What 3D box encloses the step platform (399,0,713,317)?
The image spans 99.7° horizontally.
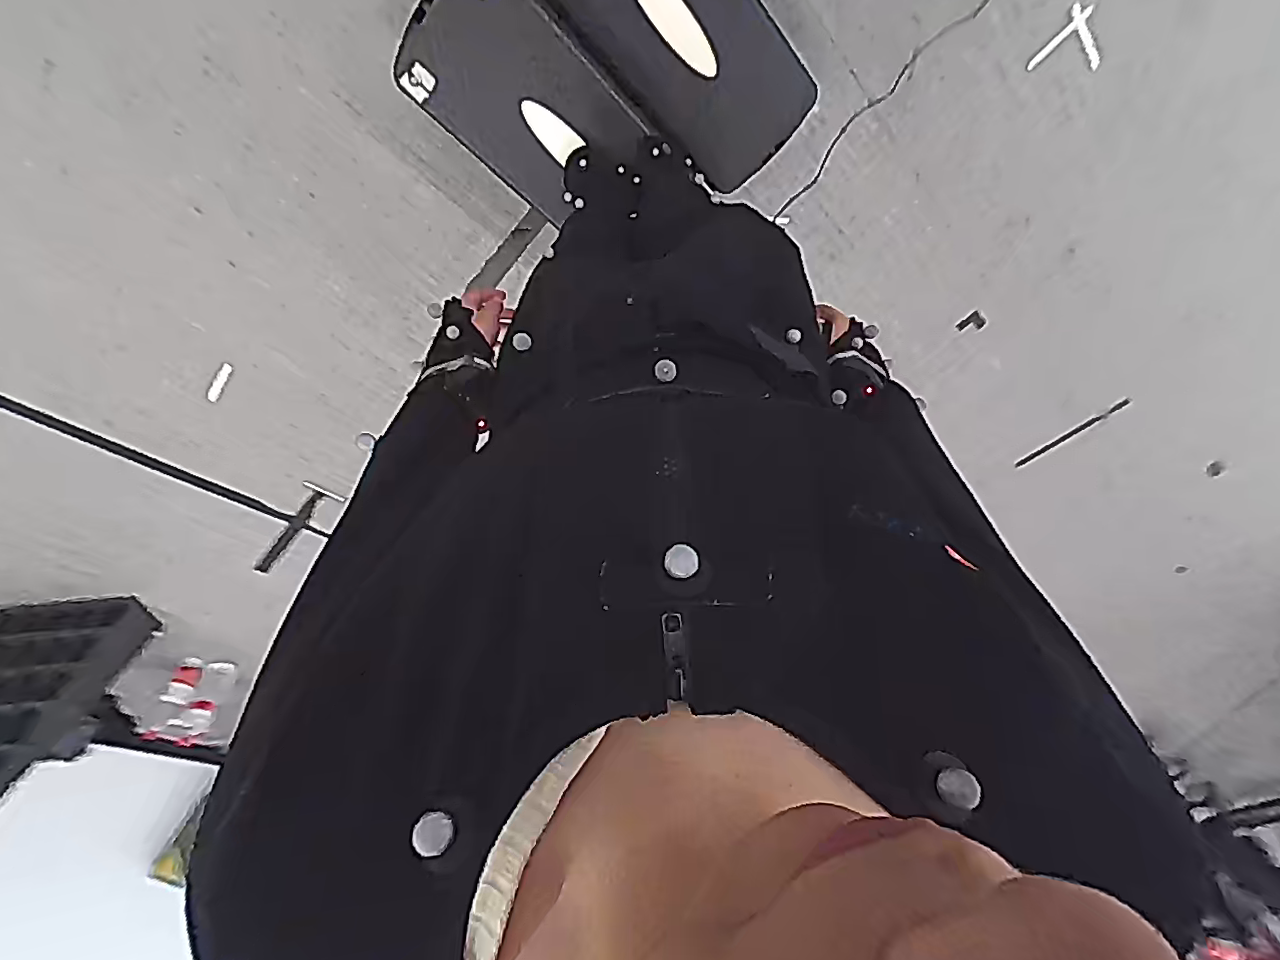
[{"bbox_3d":[-0.144,-0.677,1.156,0.286,0.204,0.684,-38,123,22],"label":"step platform"}]
